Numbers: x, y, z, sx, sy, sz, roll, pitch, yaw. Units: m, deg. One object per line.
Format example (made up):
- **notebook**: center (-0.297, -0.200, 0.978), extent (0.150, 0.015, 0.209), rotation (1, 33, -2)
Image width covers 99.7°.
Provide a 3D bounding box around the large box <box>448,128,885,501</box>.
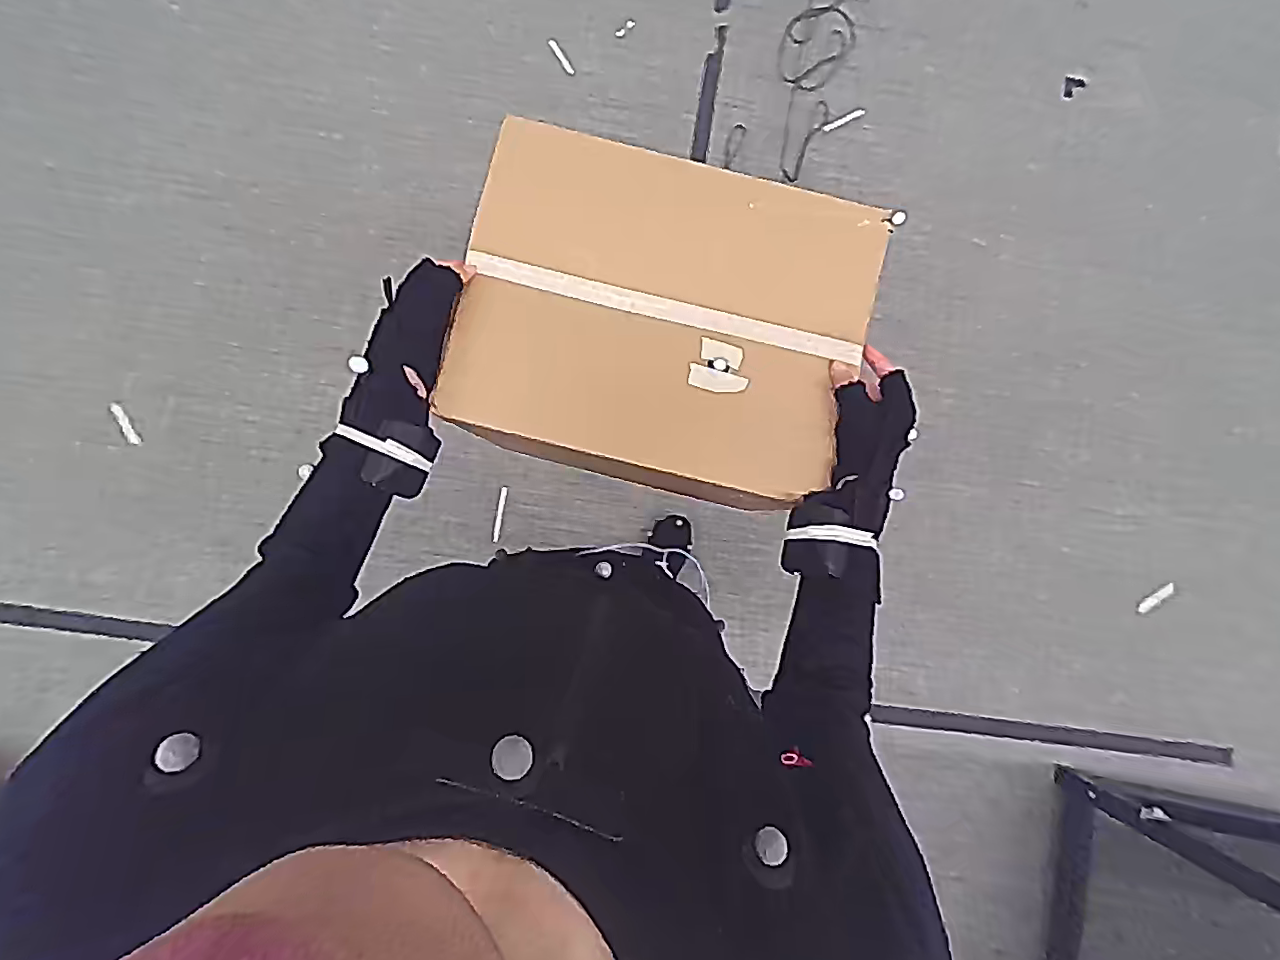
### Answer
- **large box**: center (0.025, -0.167, 0.704), extent (0.408, 0.320, 0.320), rotation (15, 87, -1)
